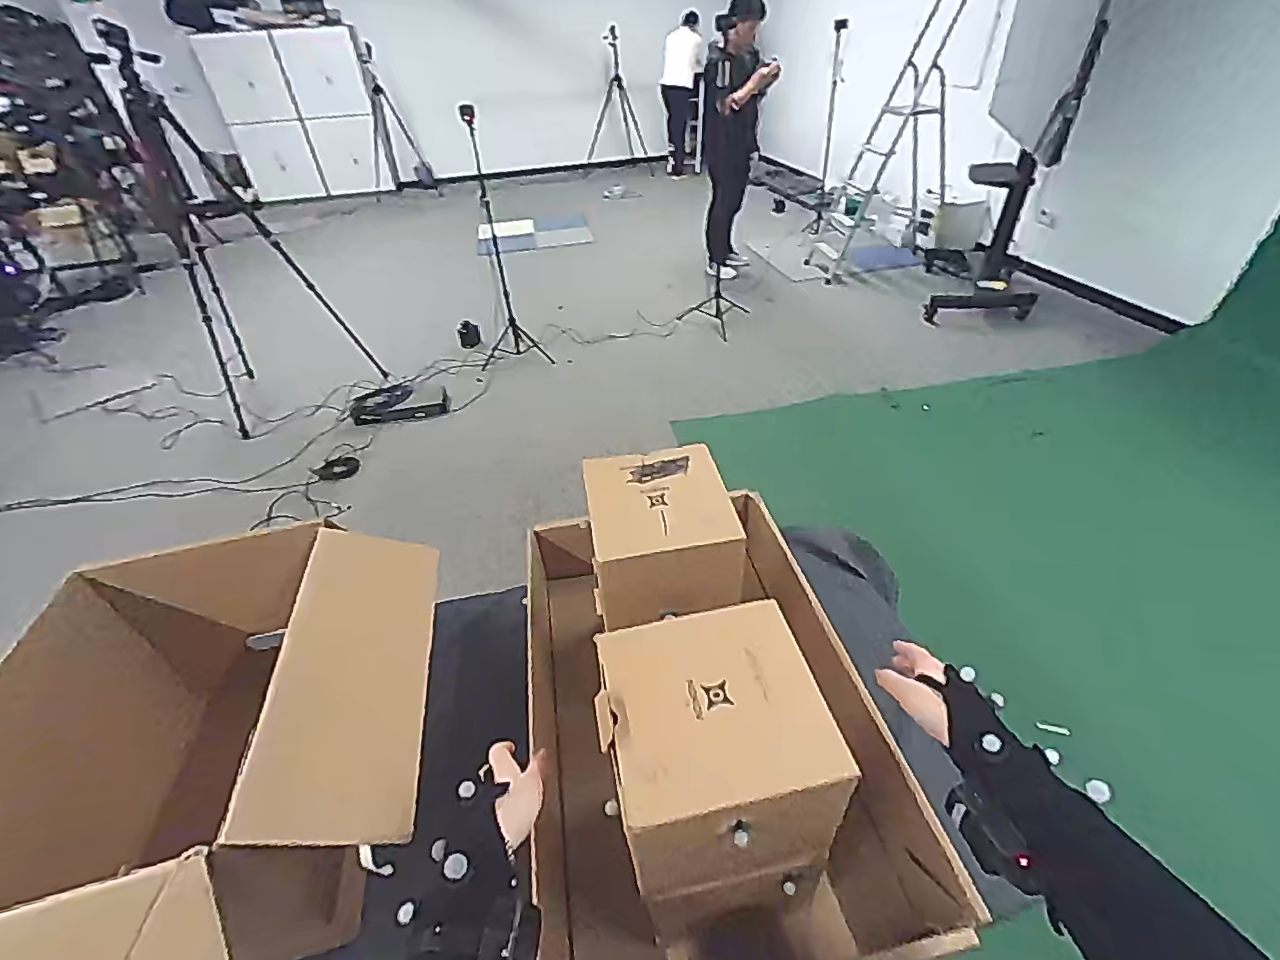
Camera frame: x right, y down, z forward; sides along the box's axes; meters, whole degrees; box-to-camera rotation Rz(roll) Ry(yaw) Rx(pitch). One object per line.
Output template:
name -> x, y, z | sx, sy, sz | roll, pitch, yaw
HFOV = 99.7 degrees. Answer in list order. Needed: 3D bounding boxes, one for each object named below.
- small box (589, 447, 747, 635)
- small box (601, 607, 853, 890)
small box -> 0.027, 0.082, 0.695 | 0.168, 0.176, 0.179 | -8, 42, -5
small box -> 0.066, 0.246, 0.500 | 0.179, 0.176, 0.168 | -8, 39, -6
